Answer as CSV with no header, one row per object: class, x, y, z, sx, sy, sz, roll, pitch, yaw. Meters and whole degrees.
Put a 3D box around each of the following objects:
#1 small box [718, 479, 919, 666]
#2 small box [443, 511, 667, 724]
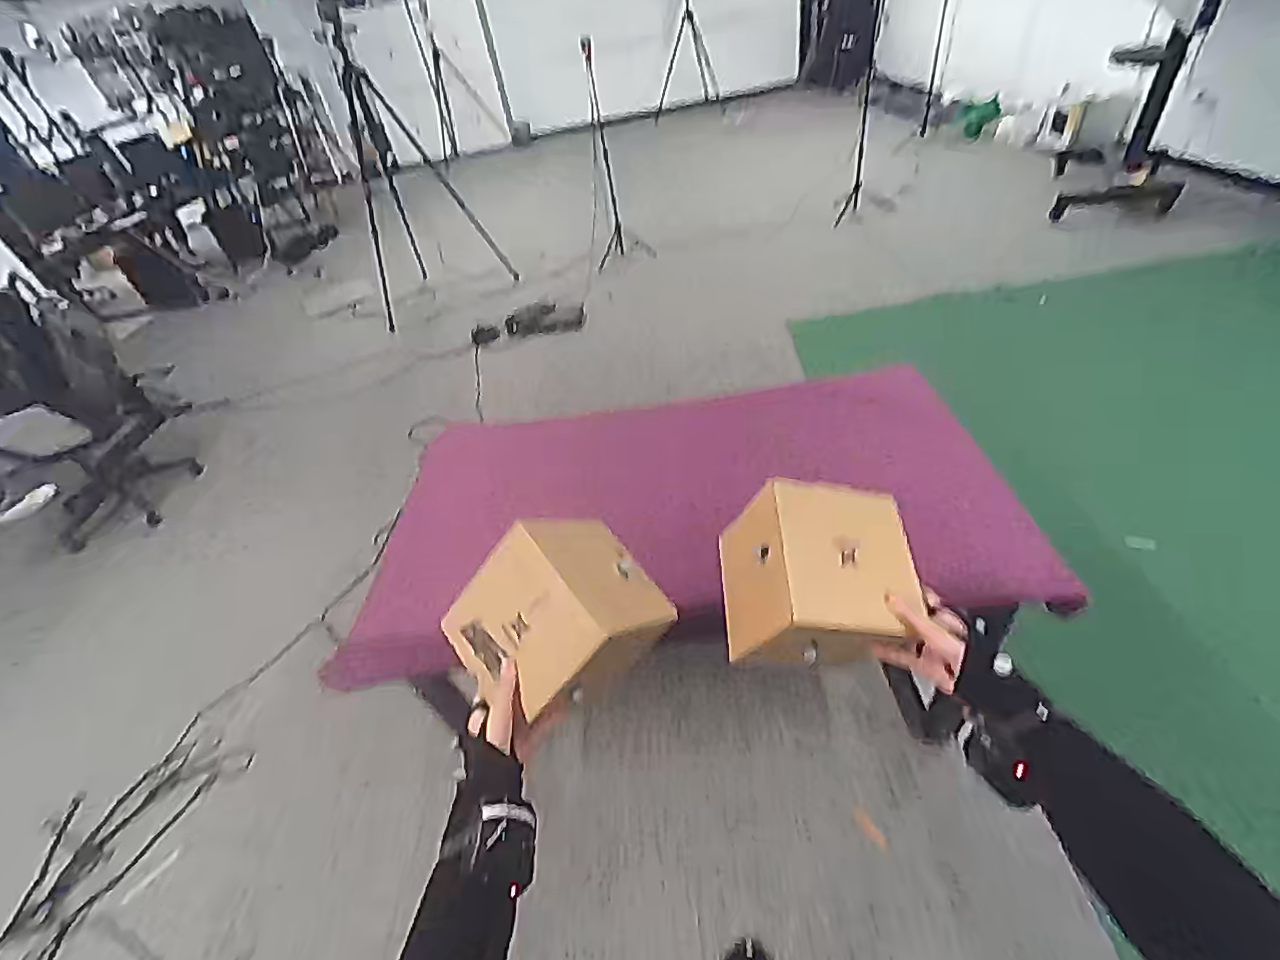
small box,0.207,0.124,0.681,0.168,0.176,0.179,8,54,-11
small box,-0.098,0.160,0.664,0.179,0.176,0.168,-48,65,14
